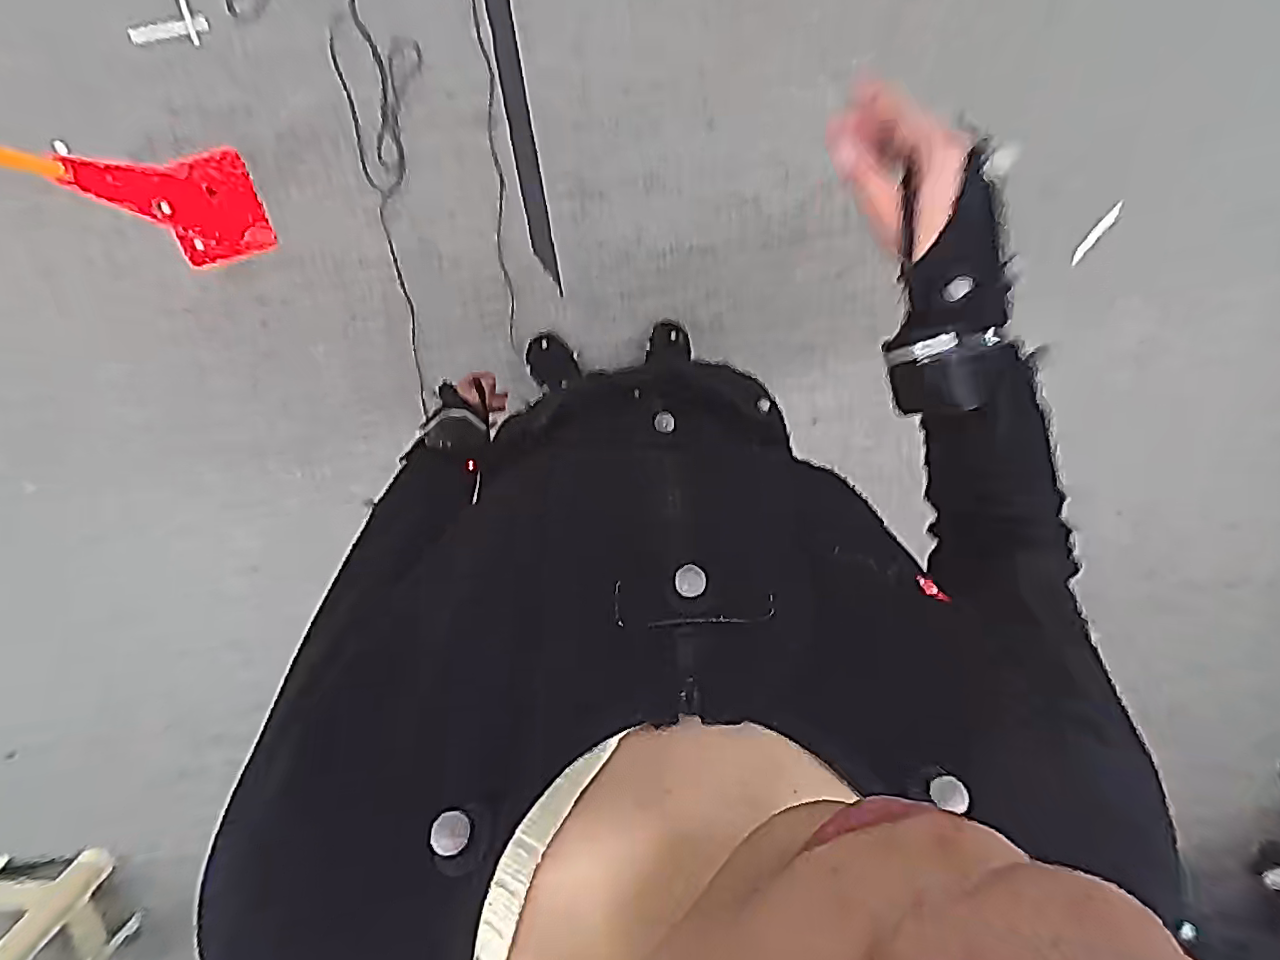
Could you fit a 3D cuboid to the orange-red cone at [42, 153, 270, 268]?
[{"bbox_3d":[-0.895,-0.516,0.980,0.199,0.360,0.198,-15,108,-1],"label":"orange-red cone"}]
